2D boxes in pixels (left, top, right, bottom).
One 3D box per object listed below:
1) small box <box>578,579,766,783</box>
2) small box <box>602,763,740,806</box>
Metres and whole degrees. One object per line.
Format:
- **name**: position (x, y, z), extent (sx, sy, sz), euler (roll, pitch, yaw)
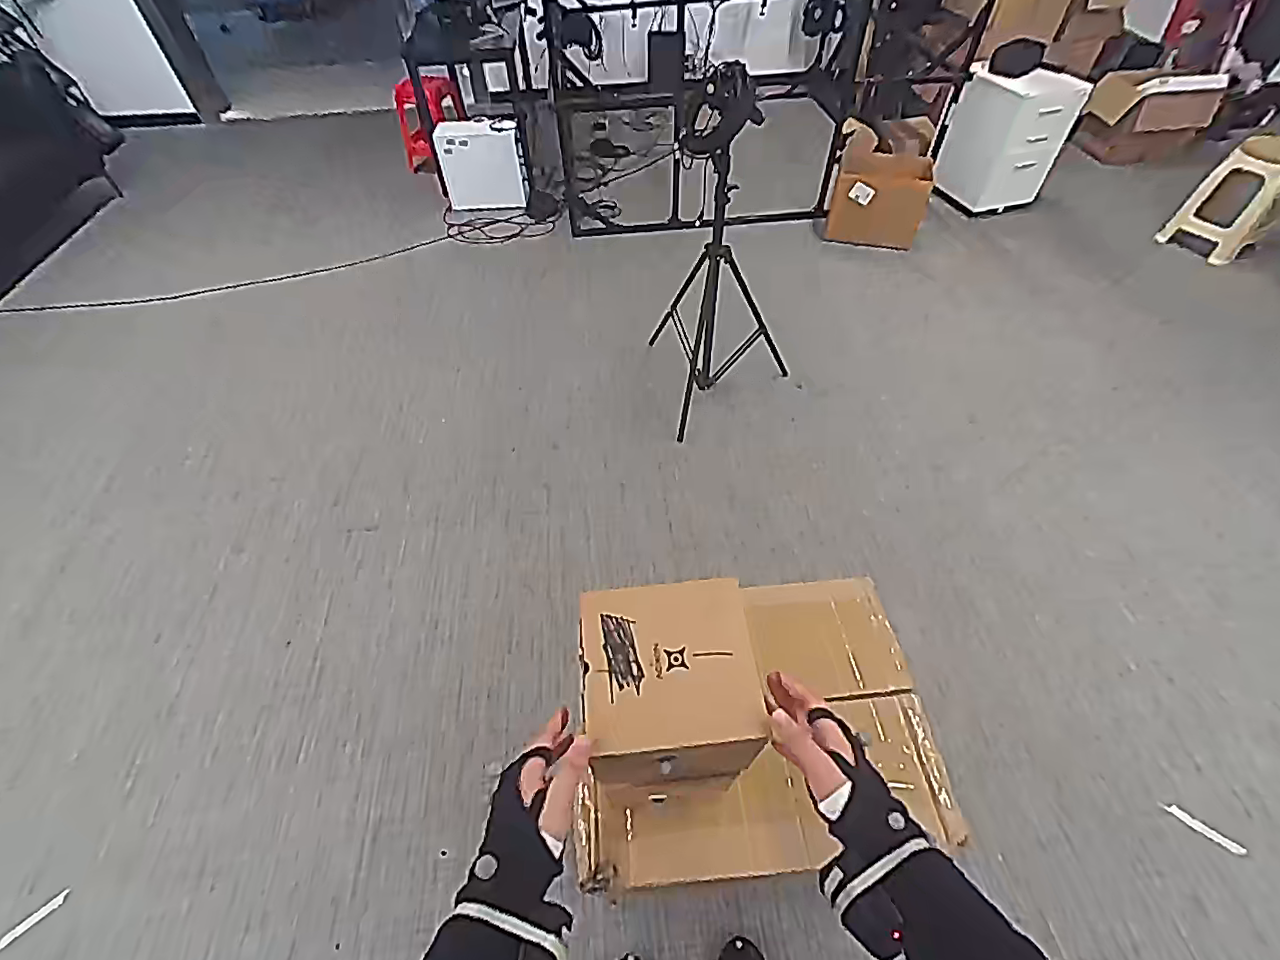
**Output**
- **small box**: position (0.029, 0.231, 0.612), extent (0.179, 0.176, 0.168), euler (-5, 52, -3)
- **small box**: position (0.031, 0.331, 0.743), extent (0.168, 0.176, 0.179), euler (-5, 53, -2)
